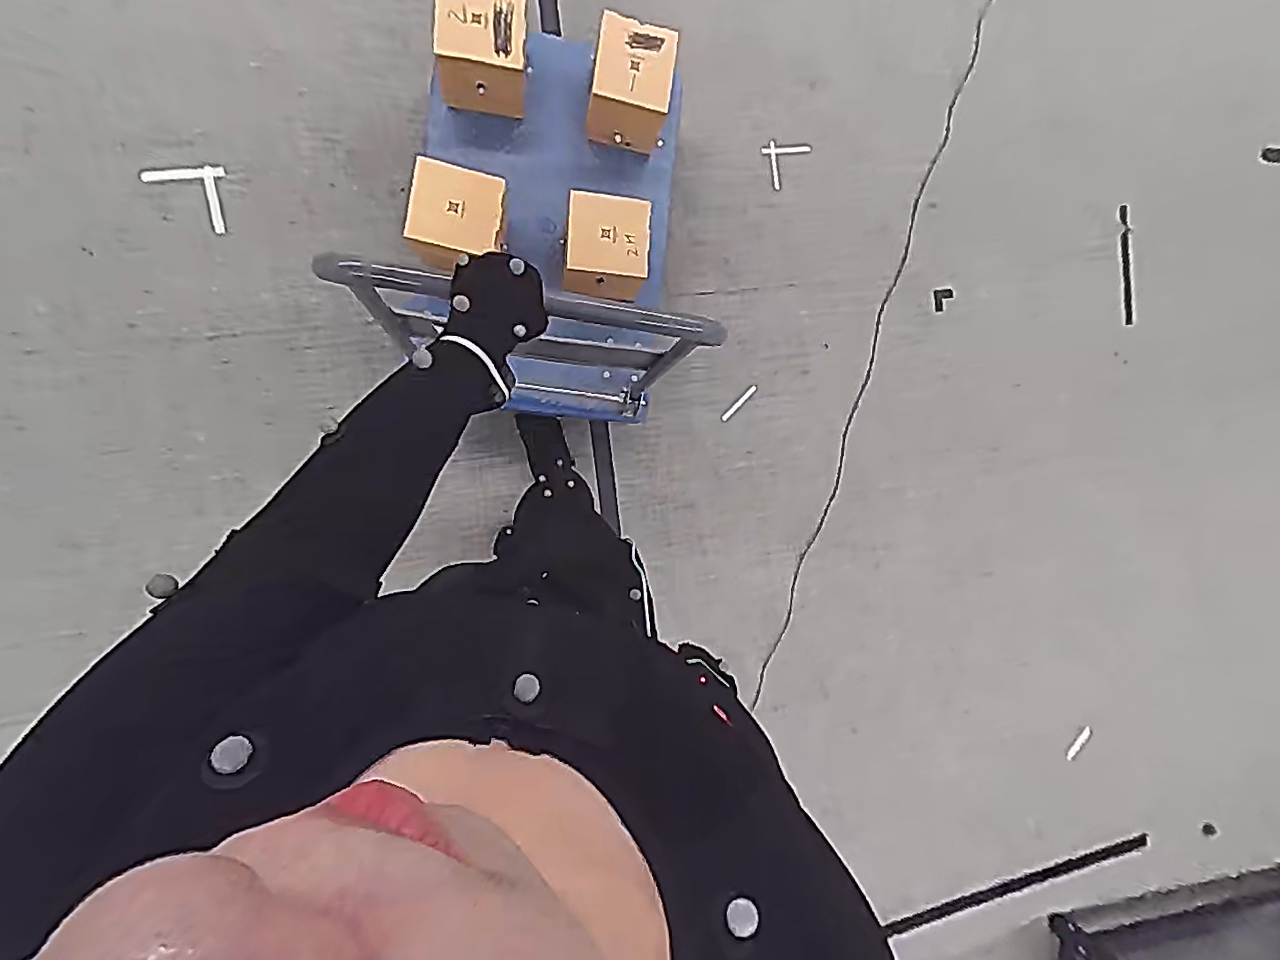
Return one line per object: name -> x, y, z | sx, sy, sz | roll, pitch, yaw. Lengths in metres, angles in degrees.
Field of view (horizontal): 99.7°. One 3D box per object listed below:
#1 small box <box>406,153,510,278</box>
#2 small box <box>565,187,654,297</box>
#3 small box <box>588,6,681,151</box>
small box -> -0.378, -0.550, 1.152 | 0.179, 0.176, 0.168 | 9, 90, -13
small box -> -0.075, -0.523, 1.213 | 0.179, 0.176, 0.168 | 3, 92, -11
small box -> -0.019, -0.886, 1.211 | 0.168, 0.176, 0.179 | 8, 92, -11
